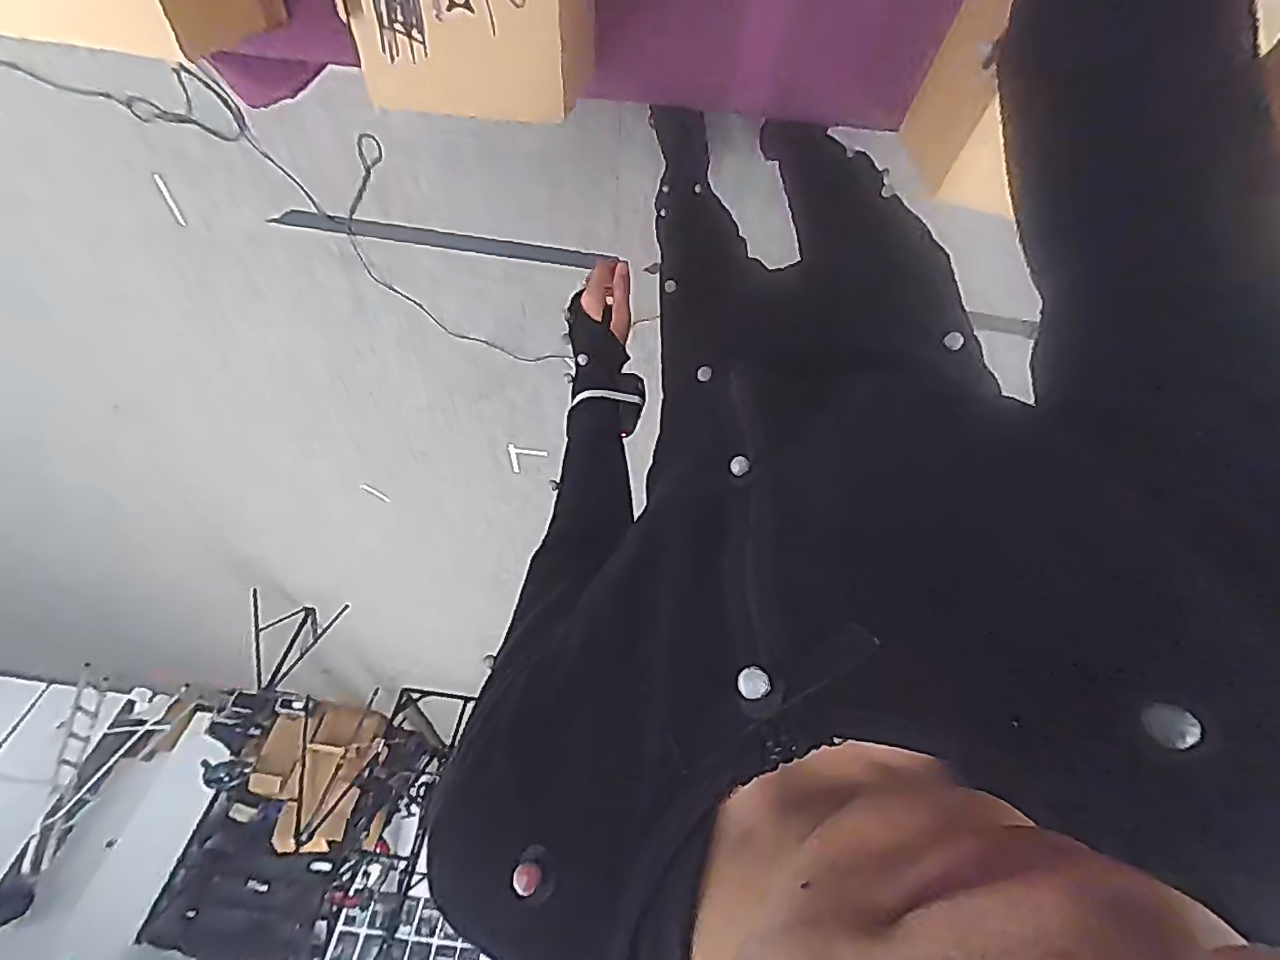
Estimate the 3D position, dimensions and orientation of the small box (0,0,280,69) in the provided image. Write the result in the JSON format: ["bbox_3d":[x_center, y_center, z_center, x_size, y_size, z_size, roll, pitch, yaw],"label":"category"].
[{"bbox_3d":[-0.462,-0.482,0.461,0.179,0.176,0.168,7,140,-1],"label":"small box"}]
